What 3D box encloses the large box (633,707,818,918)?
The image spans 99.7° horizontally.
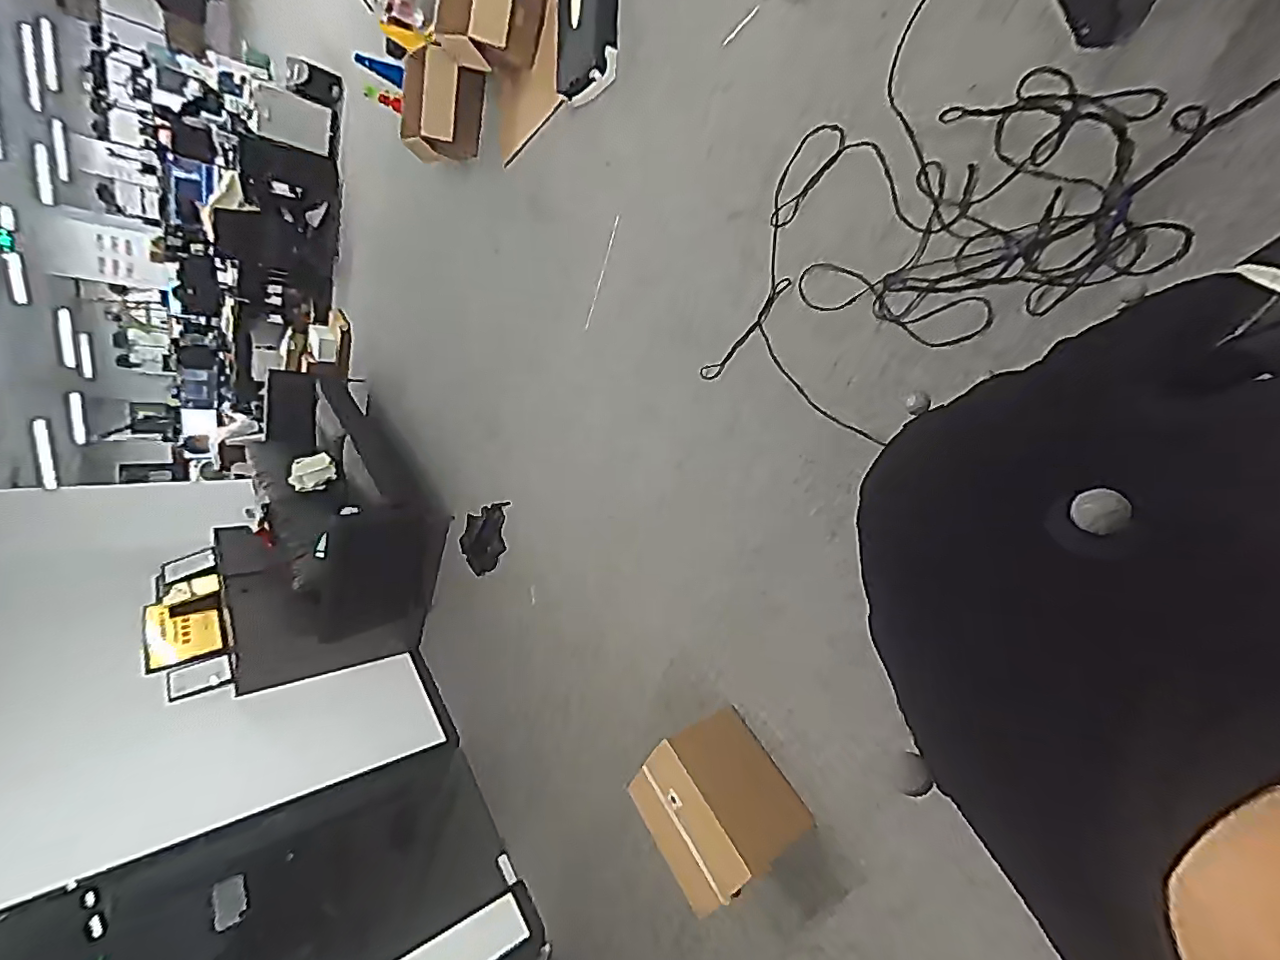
[{"bbox_3d":[0.251,0.994,1.660,0.408,0.320,0.320,50,127,35],"label":"large box"}]
